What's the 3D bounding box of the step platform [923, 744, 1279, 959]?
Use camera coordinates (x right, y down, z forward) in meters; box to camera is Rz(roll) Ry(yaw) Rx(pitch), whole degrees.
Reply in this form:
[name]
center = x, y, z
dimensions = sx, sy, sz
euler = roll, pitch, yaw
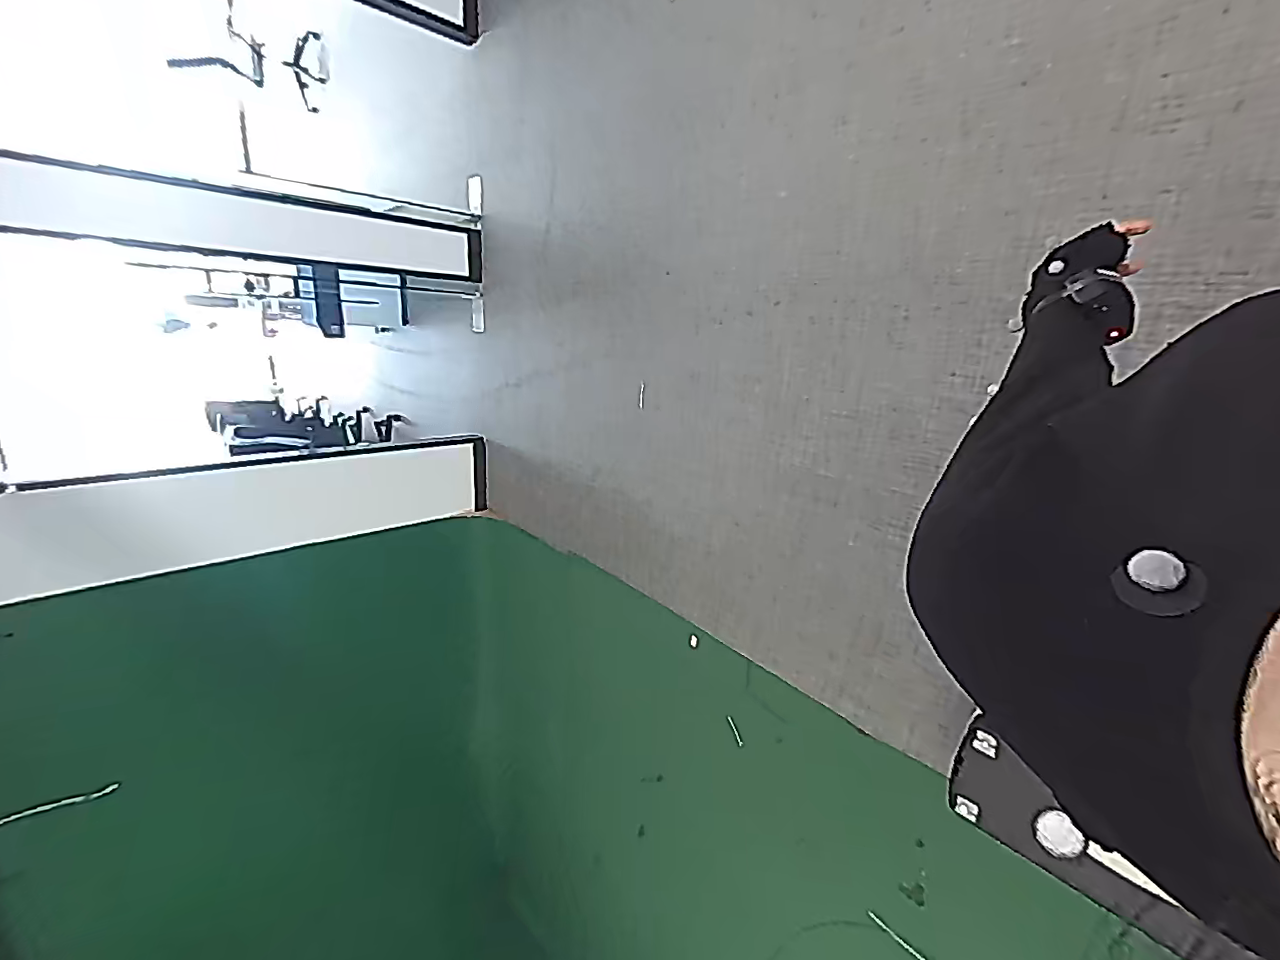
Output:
[step platform]
center = 0.929, 0.815, 1.010
dimensions = 0.684, 0.204, 0.286
euler = 19, 112, 44
